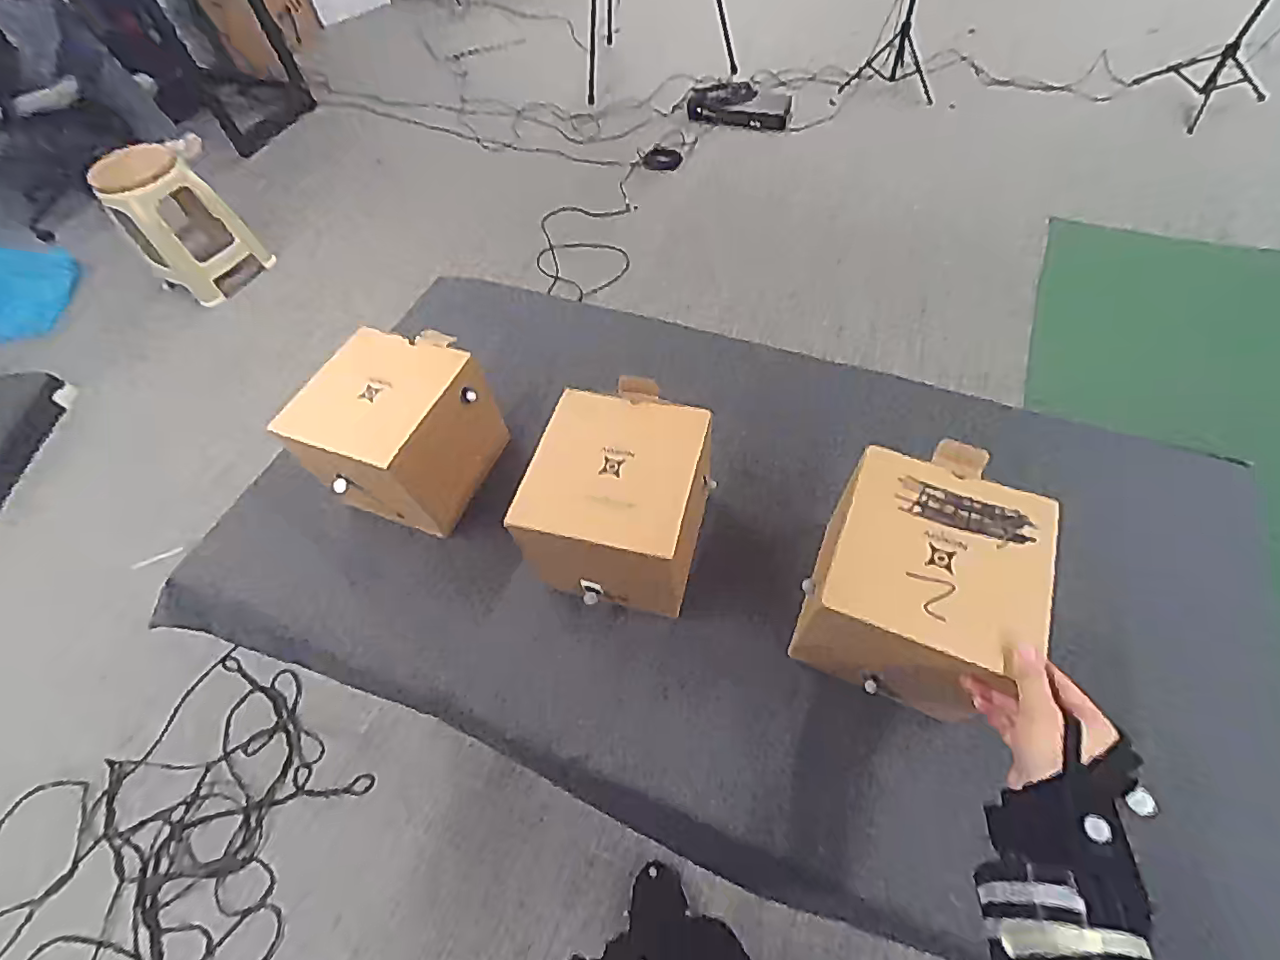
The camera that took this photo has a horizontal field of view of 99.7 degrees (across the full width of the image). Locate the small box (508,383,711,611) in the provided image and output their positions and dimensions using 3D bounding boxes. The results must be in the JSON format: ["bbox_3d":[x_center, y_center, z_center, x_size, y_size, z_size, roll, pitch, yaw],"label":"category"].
[{"bbox_3d":[-0.019,0.021,0.597,0.168,0.176,0.179,9,59,12],"label":"small box"}]

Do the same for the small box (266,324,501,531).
[{"bbox_3d":[-0.297,-0.061,0.674,0.168,0.176,0.179,16,59,14],"label":"small box"}]
